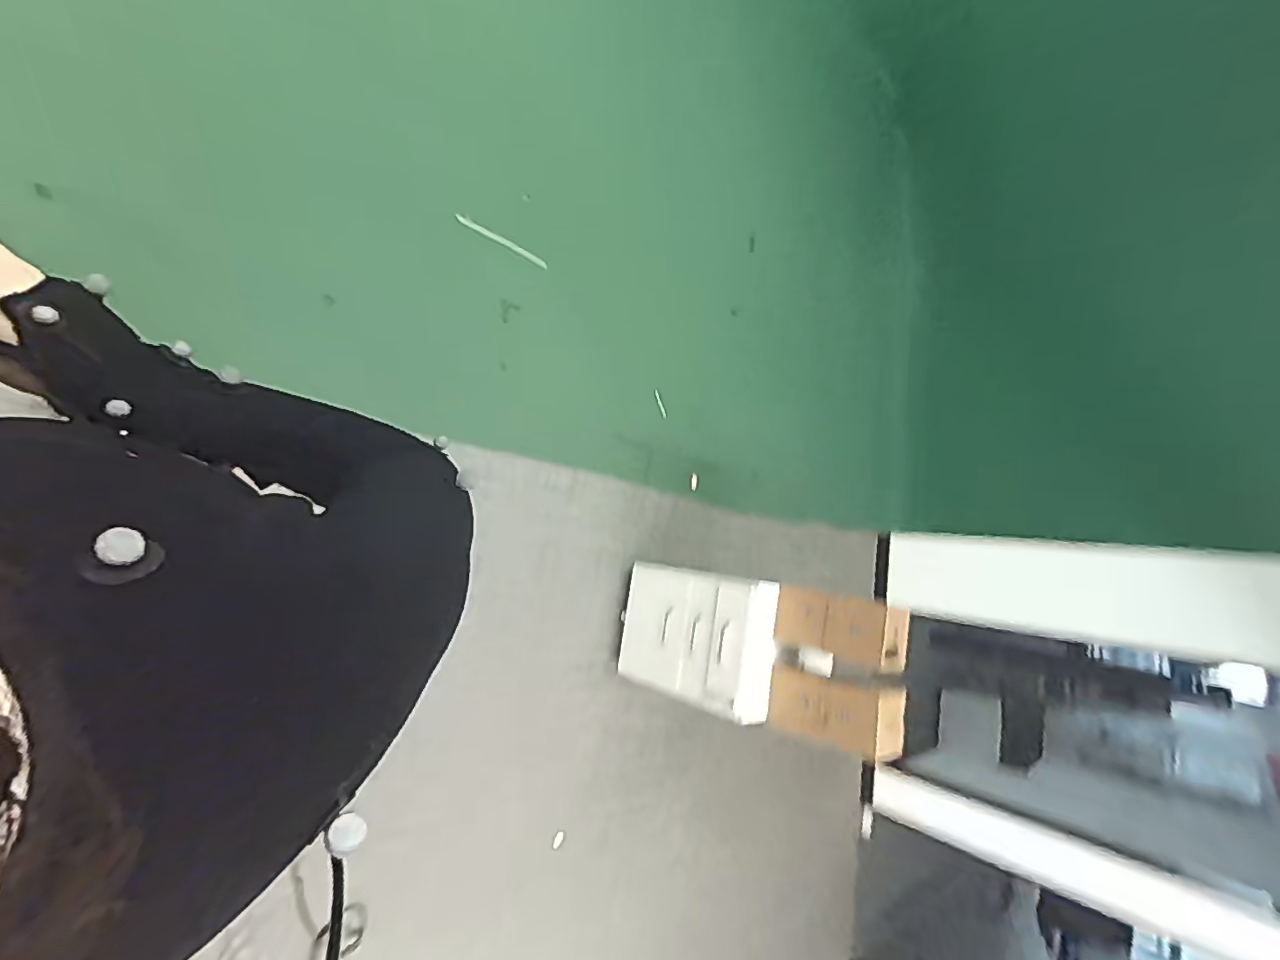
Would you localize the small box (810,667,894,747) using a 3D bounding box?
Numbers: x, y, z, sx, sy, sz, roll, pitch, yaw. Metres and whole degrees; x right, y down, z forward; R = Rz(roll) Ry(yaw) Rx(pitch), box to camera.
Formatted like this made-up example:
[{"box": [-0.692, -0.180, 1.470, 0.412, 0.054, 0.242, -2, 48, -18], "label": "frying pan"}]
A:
[{"box": [0.603, 0.638, 1.540, 0.179, 0.176, 0.168, 14, 81, -43], "label": "small box"}]

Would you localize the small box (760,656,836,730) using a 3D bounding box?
[{"box": [0.485, 0.644, 1.655, 0.168, 0.176, 0.179, 16, 79, -42], "label": "small box"}]

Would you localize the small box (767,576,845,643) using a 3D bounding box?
[{"box": [0.513, 0.399, 1.680, 0.168, 0.176, 0.179, 16, 80, -42], "label": "small box"}]
